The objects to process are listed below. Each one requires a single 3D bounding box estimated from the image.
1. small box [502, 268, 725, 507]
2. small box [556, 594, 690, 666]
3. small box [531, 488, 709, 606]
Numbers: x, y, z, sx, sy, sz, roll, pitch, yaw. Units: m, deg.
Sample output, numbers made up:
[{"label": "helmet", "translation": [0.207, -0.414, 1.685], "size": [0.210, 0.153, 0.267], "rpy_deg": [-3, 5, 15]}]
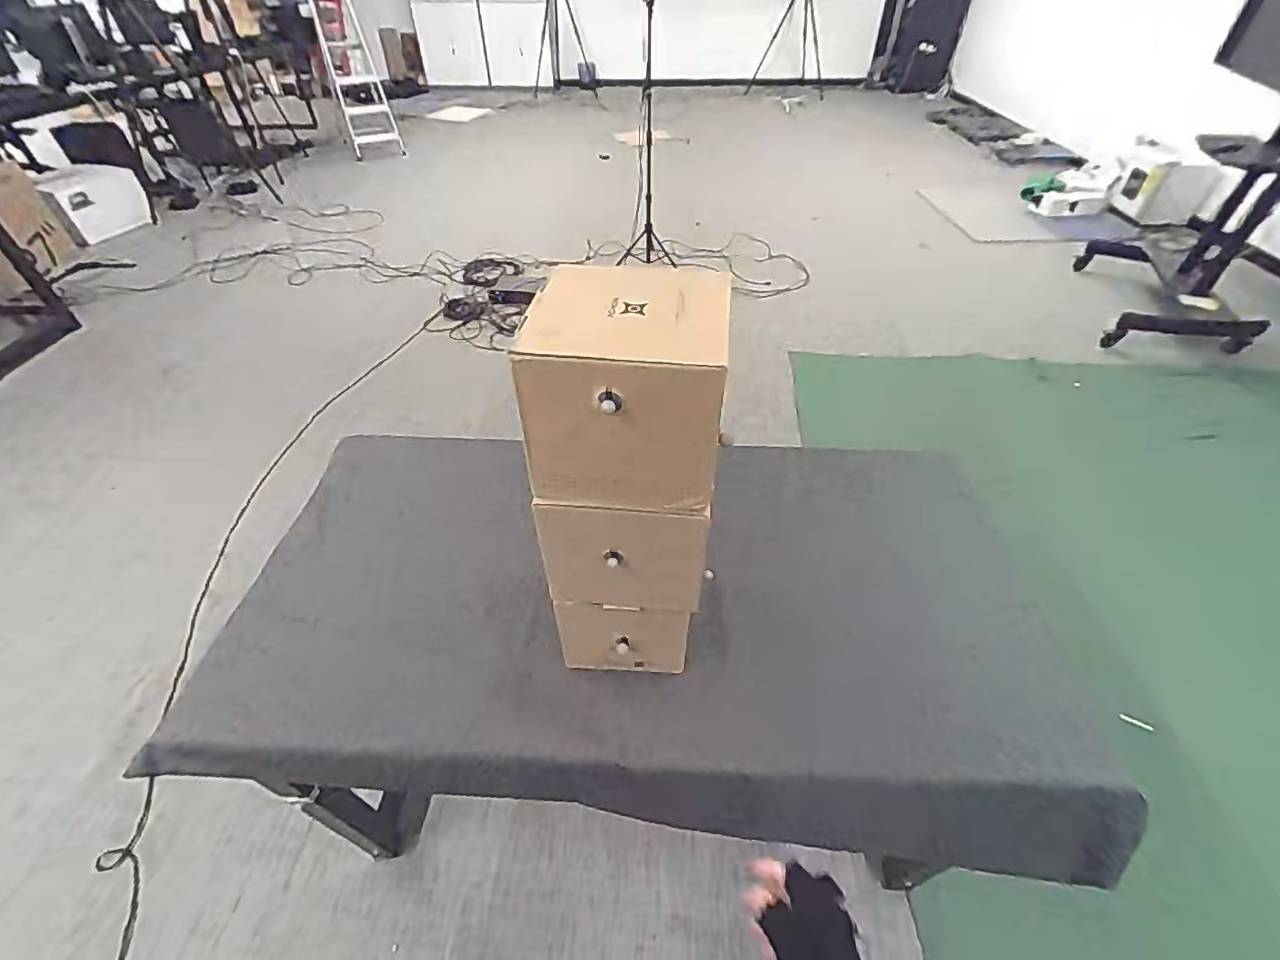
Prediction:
[{"label": "small box", "translation": [-0.013, -0.089, 0.528], "size": [0.179, 0.176, 0.168], "rpy_deg": [5, 45, 5]}, {"label": "small box", "translation": [-0.013, 0.144, 0.756], "size": [0.168, 0.176, 0.179], "rpy_deg": [1, 45, 3]}, {"label": "small box", "translation": [-0.011, 0.032, 0.635], "size": [0.179, 0.176, 0.168], "rpy_deg": [2, 44, 6]}]
